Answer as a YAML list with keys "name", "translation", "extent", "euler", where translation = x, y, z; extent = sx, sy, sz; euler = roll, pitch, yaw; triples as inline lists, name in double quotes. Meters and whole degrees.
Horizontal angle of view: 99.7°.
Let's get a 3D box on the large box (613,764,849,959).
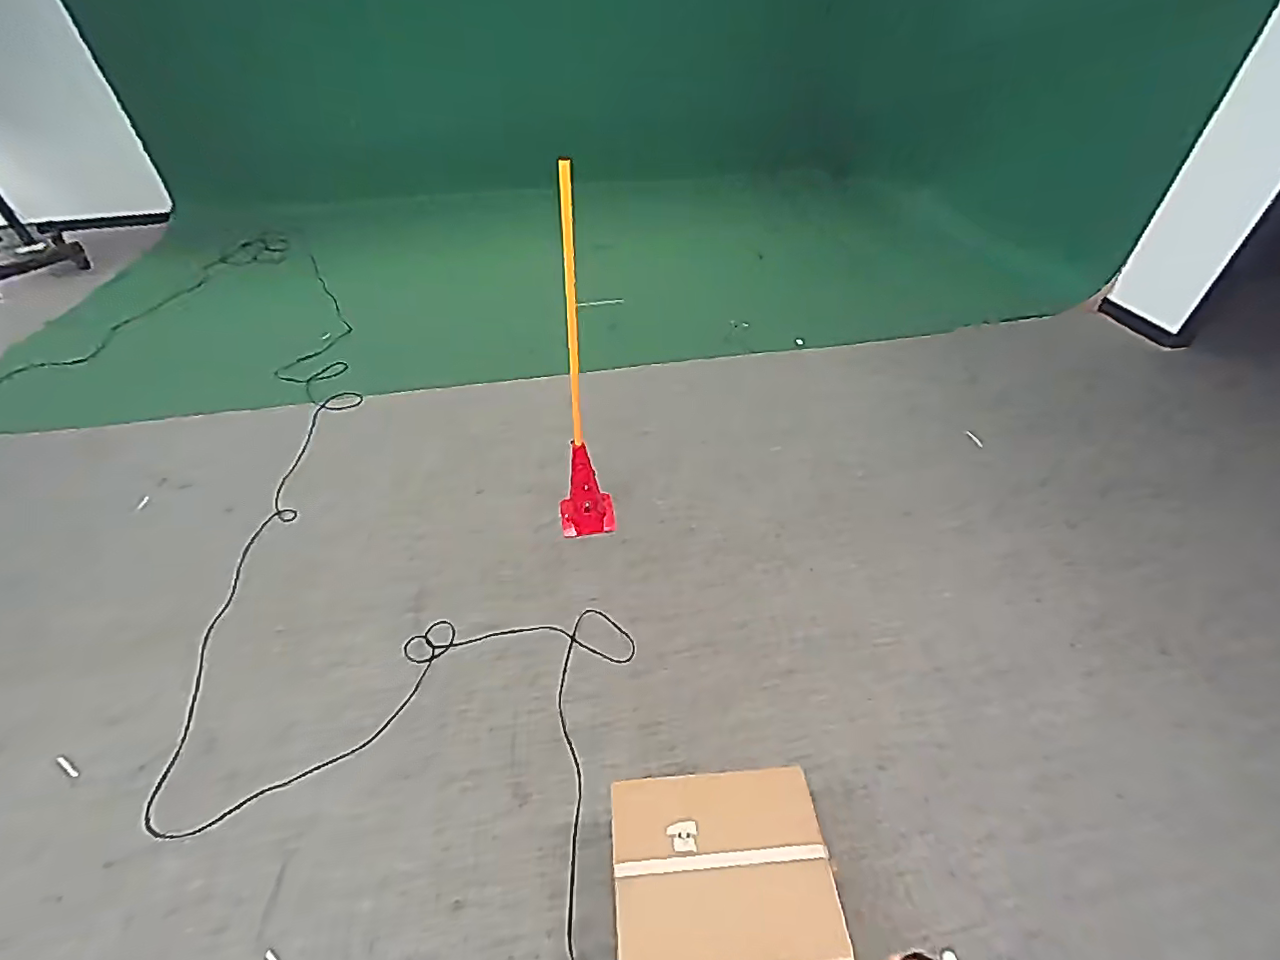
- name: "large box"
  translation: [0.158, 0.826, 1.127]
  extent: [0.408, 0.320, 0.320]
  euler: [-4, 43, -2]
